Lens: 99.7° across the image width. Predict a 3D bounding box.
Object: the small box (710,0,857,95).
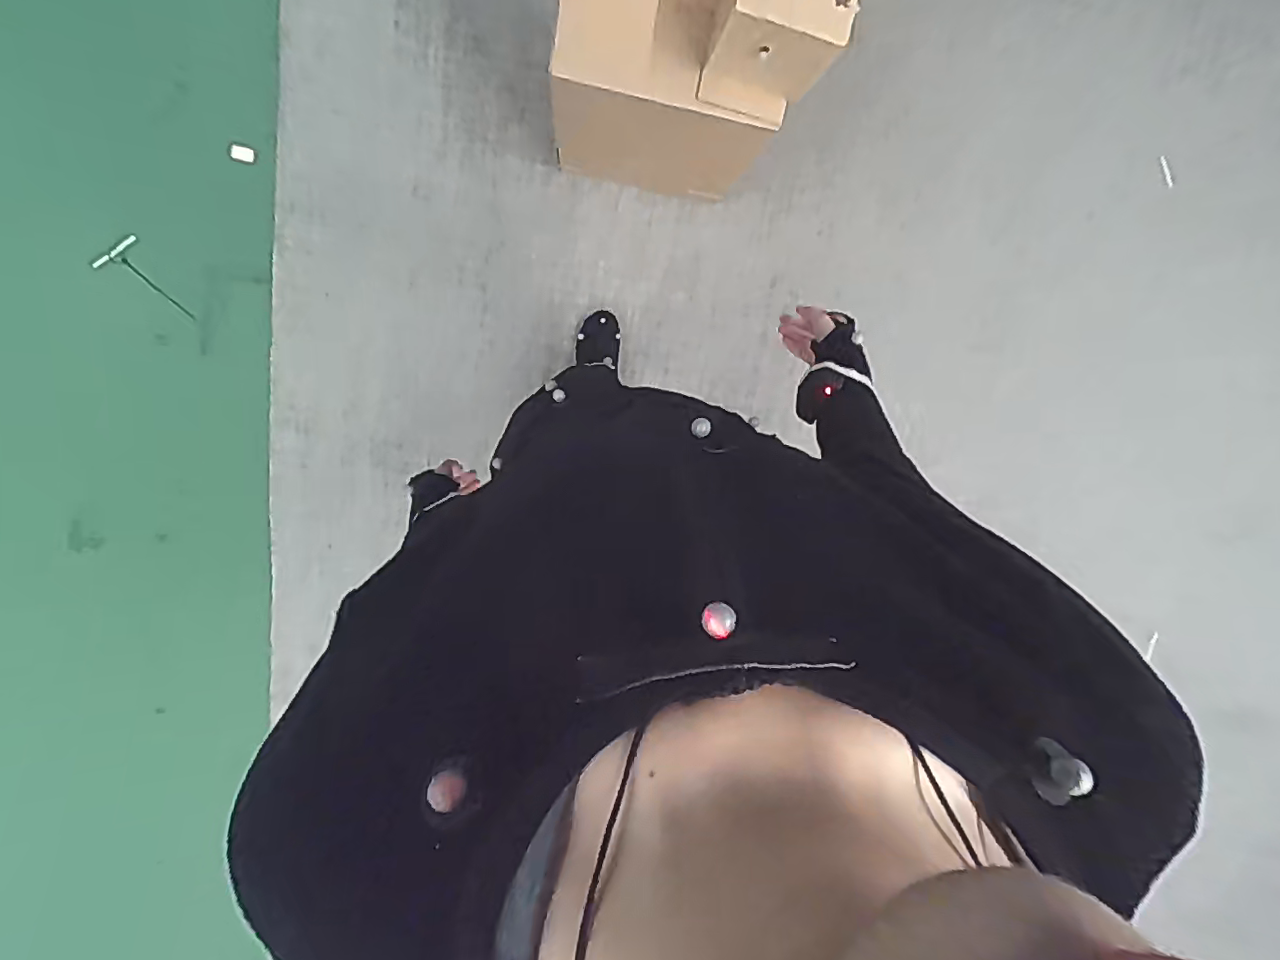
[{"bbox_3d":[0.218,-0.729,0.824,0.179,0.176,0.168,10,102,-8],"label":"small box"}]
